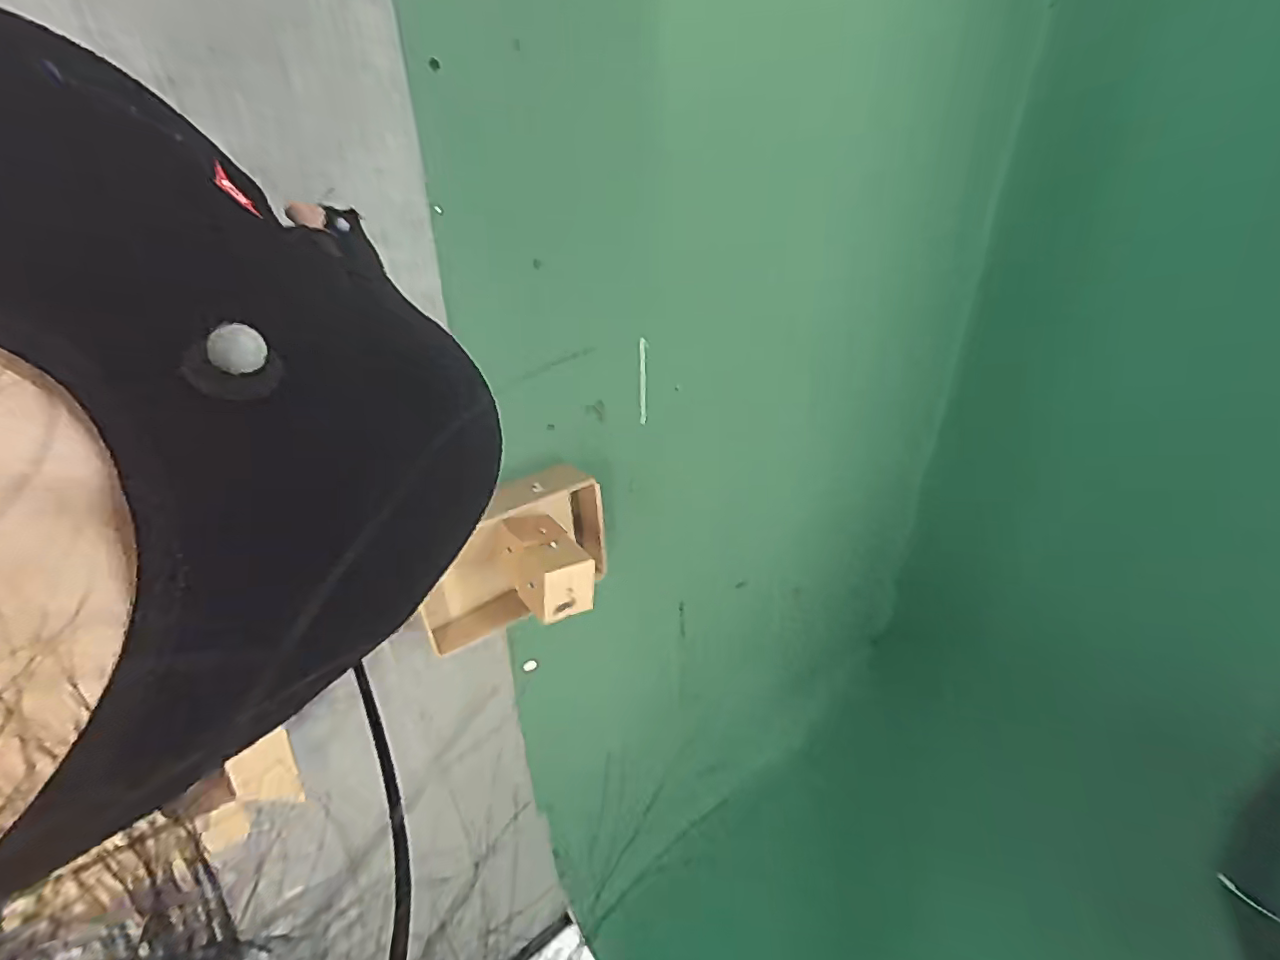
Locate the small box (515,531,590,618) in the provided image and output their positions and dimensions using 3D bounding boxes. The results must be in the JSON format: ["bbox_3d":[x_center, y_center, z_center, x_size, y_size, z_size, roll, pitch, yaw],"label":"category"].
[{"bbox_3d":[-0.267,0.278,1.626,0.168,0.176,0.179,-12,119,-36],"label":"small box"}]

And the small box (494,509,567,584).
[{"bbox_3d":[-0.360,0.208,1.744,0.179,0.176,0.168,-8,118,-37],"label":"small box"}]

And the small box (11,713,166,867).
[{"bbox_3d":[-1.106,0.618,1.102,0.179,0.176,0.168,-19,121,-33],"label":"small box"}]
